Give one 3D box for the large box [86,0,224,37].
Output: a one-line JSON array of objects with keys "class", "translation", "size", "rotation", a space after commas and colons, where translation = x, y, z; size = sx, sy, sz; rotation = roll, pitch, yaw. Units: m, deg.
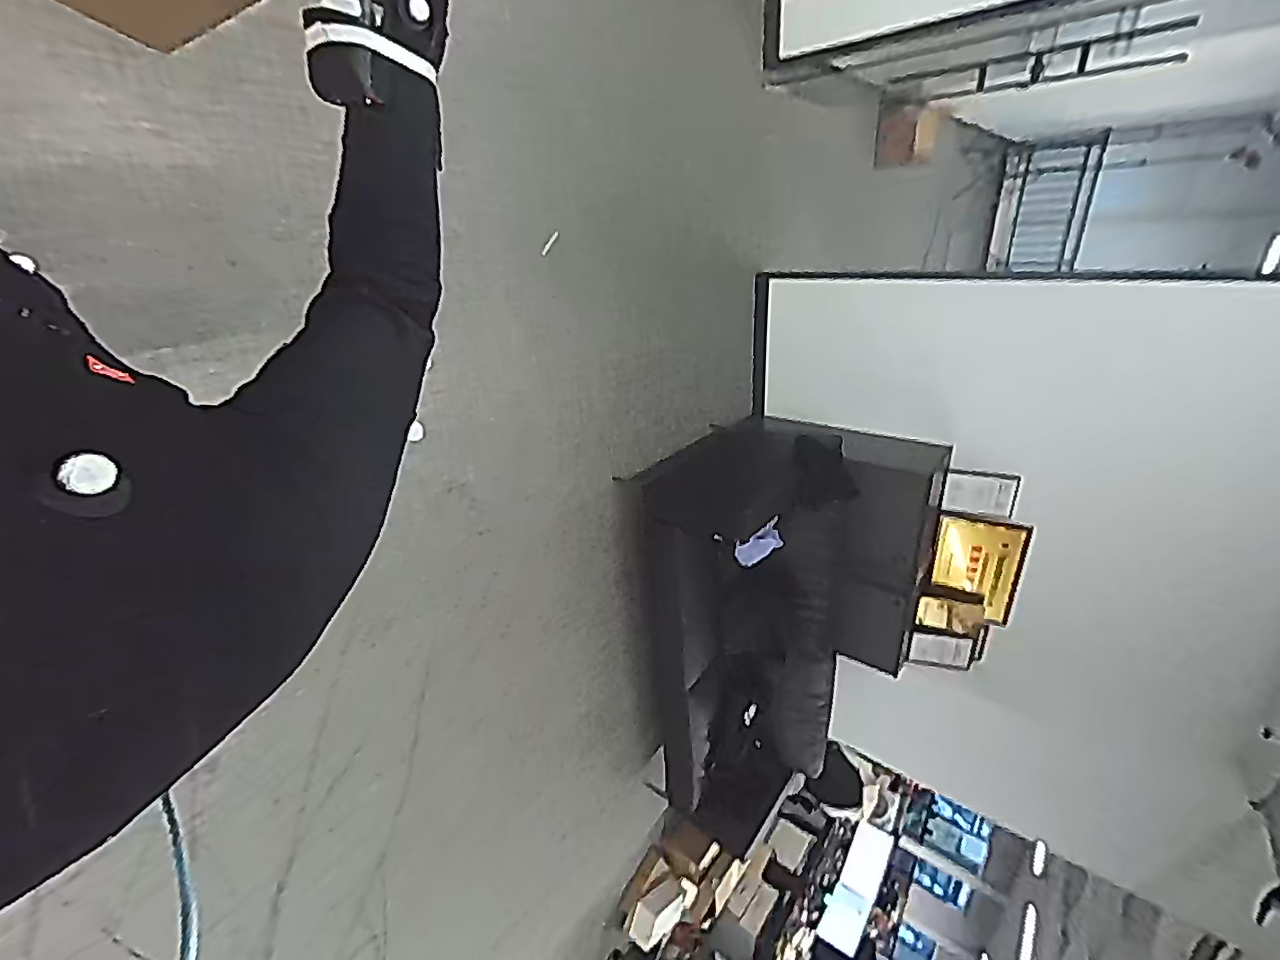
[{"class": "large box", "translation": [-0.410, -0.507, 0.233], "size": [0.408, 0.320, 0.320], "rotation": [0, 108, -53]}]
